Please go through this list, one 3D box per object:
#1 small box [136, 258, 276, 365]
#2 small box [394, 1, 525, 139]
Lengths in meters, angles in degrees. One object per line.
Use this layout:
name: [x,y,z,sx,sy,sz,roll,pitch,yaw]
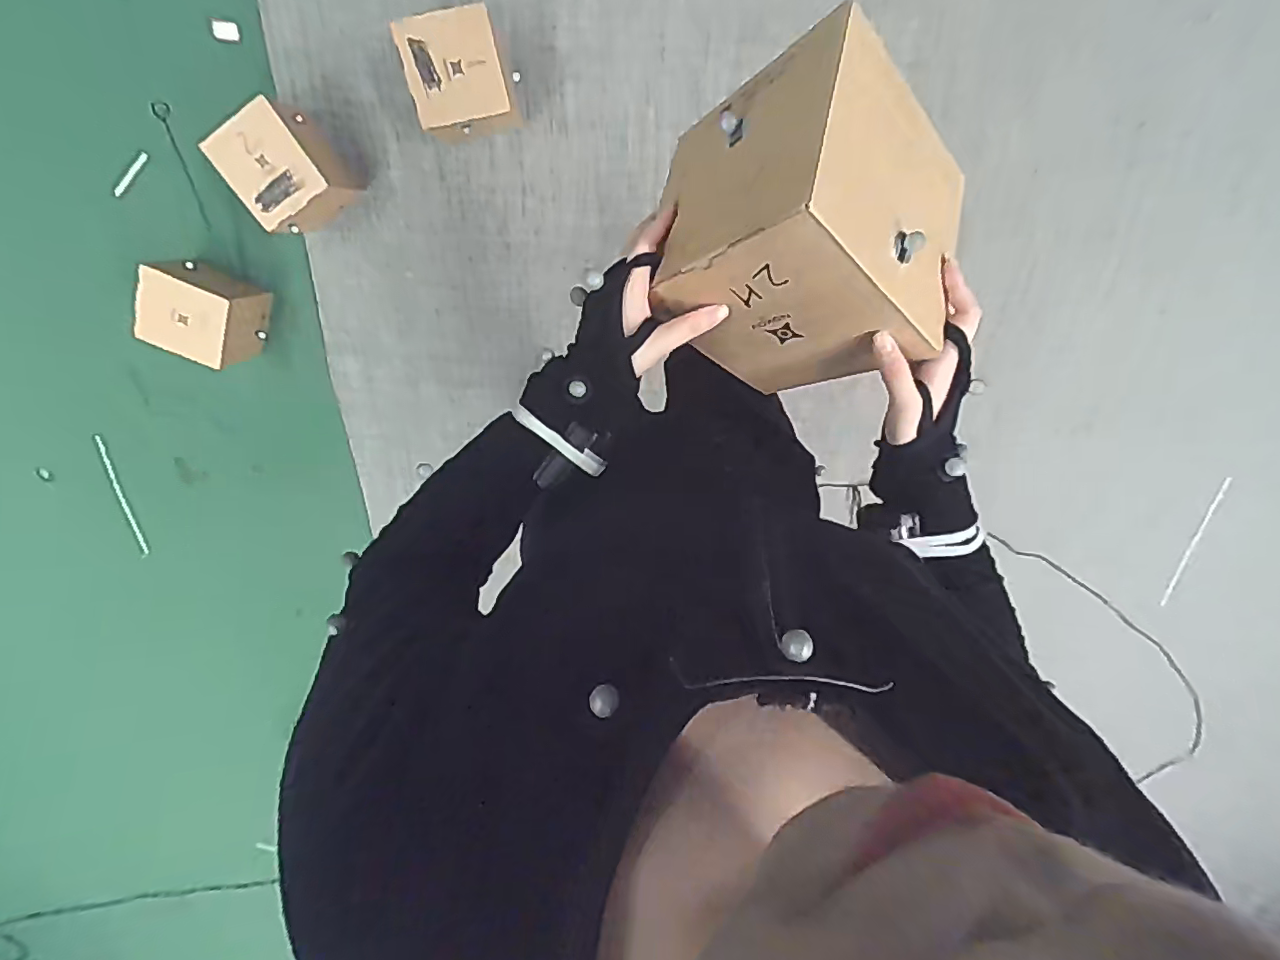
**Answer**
small box: [-0.972,-0.384,1.220,0.179,0.176,0.168,23,113,-12]
small box: [-0.339,-0.782,1.051,0.179,0.176,0.168,-10,115,2]
